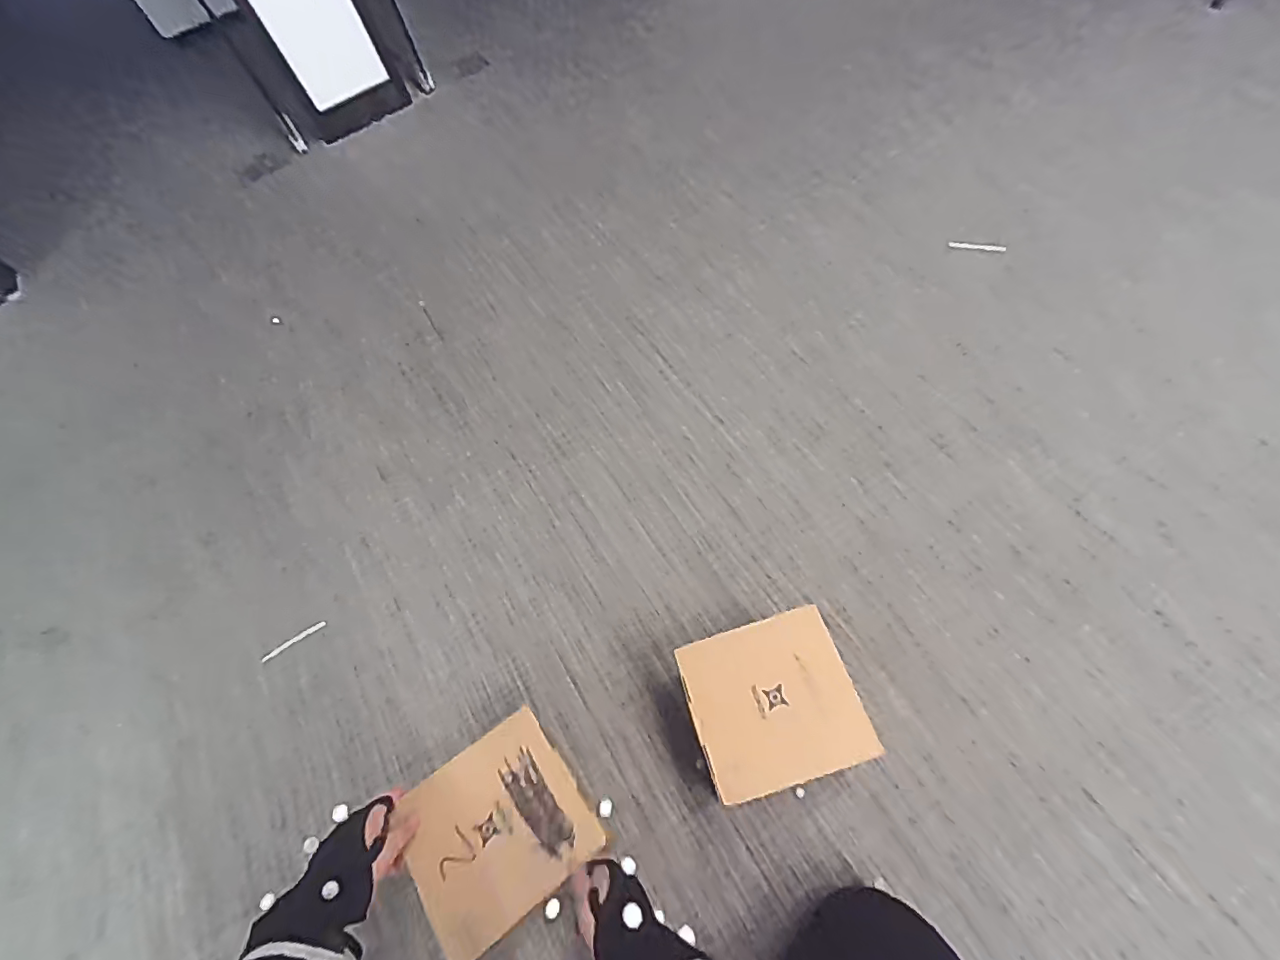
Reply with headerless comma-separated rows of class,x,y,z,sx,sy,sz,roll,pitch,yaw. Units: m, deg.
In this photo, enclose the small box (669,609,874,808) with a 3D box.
small box,0.147,0.278,0.651,0.179,0.176,0.168,-17,60,-1
